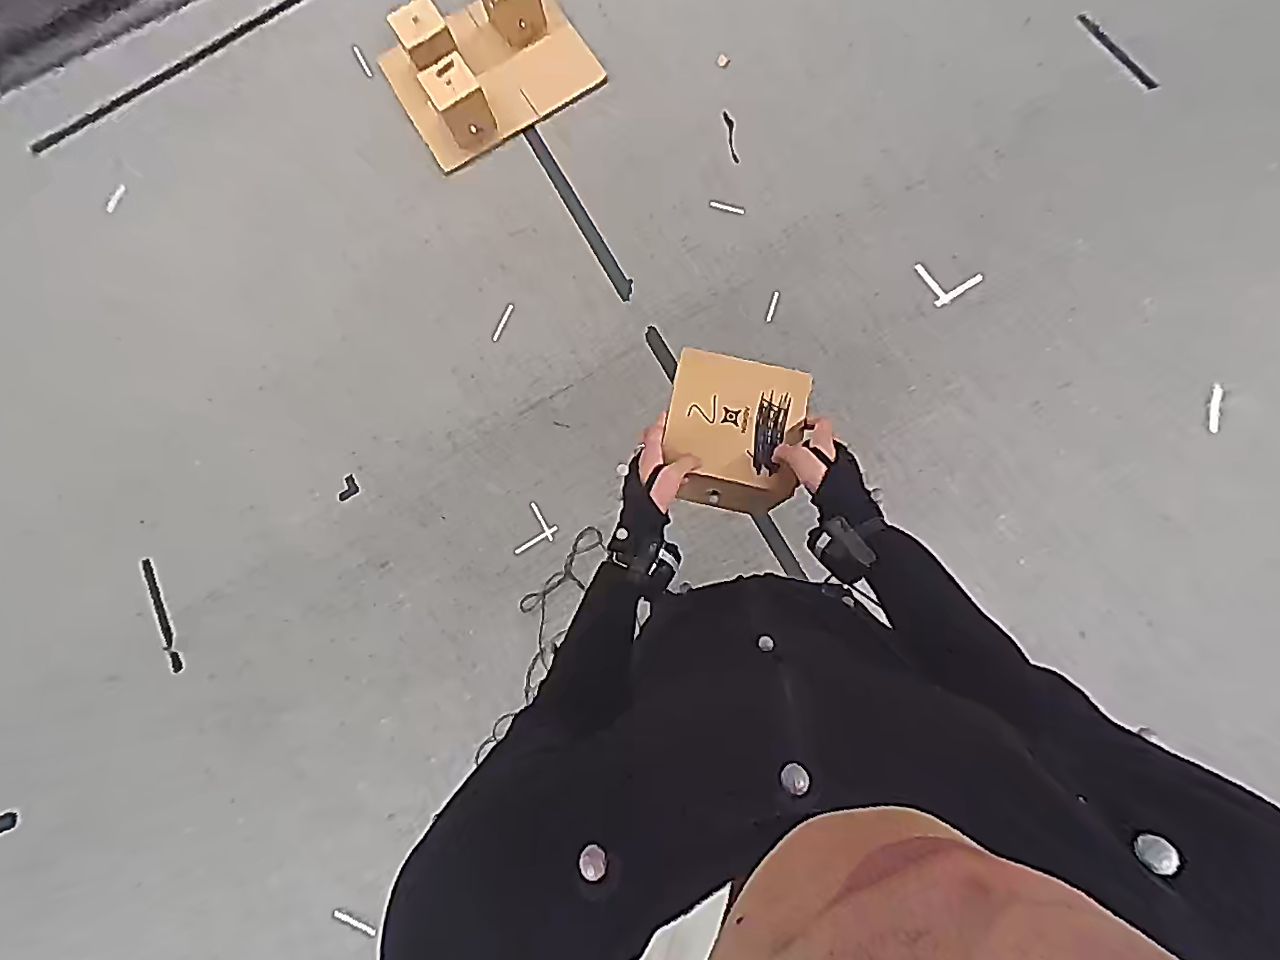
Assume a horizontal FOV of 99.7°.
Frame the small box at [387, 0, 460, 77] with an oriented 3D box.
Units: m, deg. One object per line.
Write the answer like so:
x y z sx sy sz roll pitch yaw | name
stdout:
-0.771 -1.573 1.960 0.168 0.176 0.179 -32 79 0 | small box

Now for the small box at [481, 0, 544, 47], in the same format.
-0.475 -1.747 1.971 0.168 0.176 0.179 -35 79 -2 | small box

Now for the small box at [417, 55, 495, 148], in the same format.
-0.642 -1.325 1.903 0.168 0.176 0.179 -32 79 0 | small box
